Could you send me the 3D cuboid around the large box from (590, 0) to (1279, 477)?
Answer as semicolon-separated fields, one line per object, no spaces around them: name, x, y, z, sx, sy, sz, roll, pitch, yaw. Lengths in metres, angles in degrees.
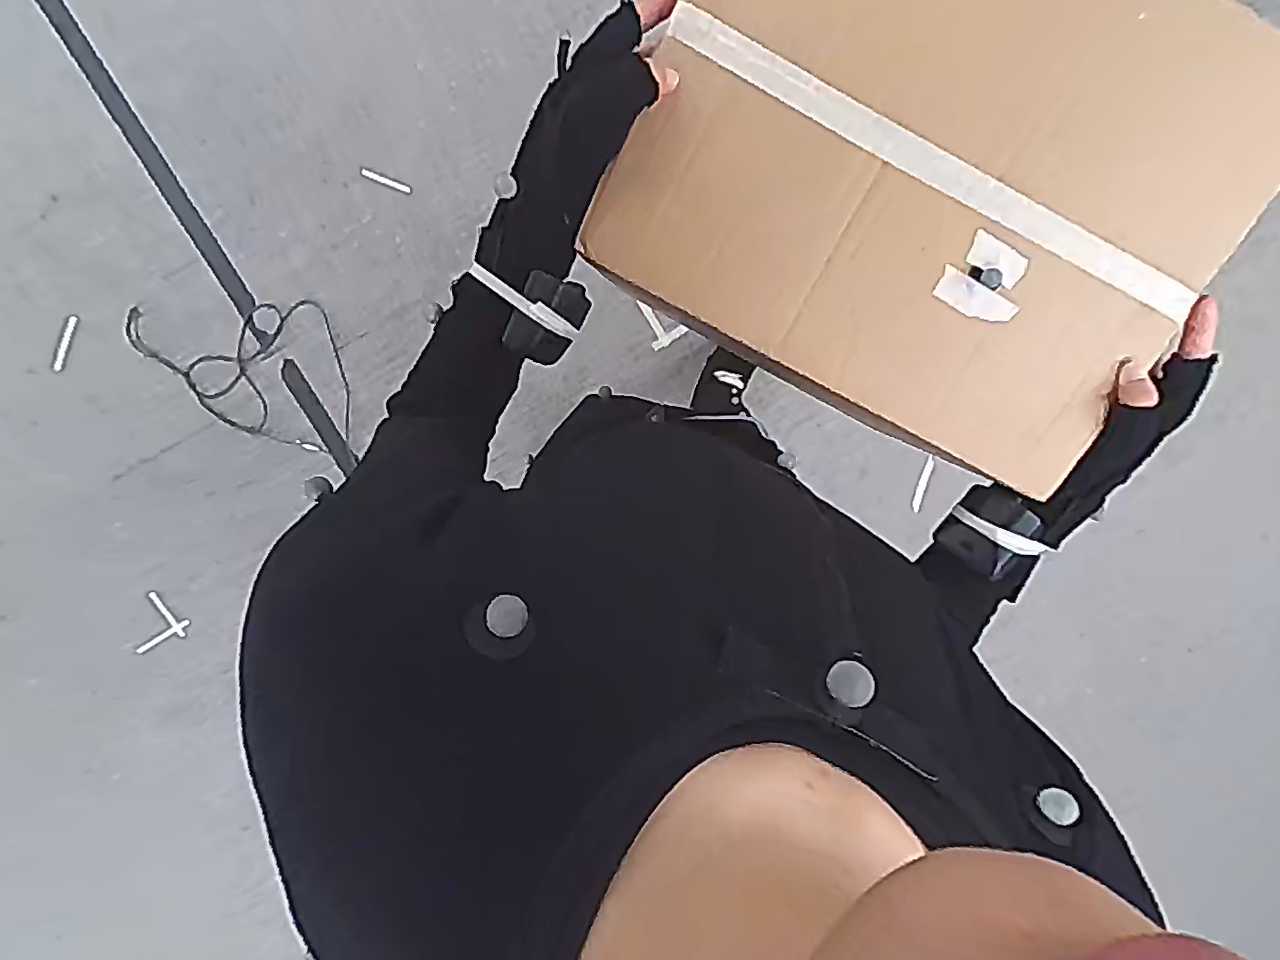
large box;0.209;-0.254;0.523;0.408;0.320;0.320;27;105;-4
